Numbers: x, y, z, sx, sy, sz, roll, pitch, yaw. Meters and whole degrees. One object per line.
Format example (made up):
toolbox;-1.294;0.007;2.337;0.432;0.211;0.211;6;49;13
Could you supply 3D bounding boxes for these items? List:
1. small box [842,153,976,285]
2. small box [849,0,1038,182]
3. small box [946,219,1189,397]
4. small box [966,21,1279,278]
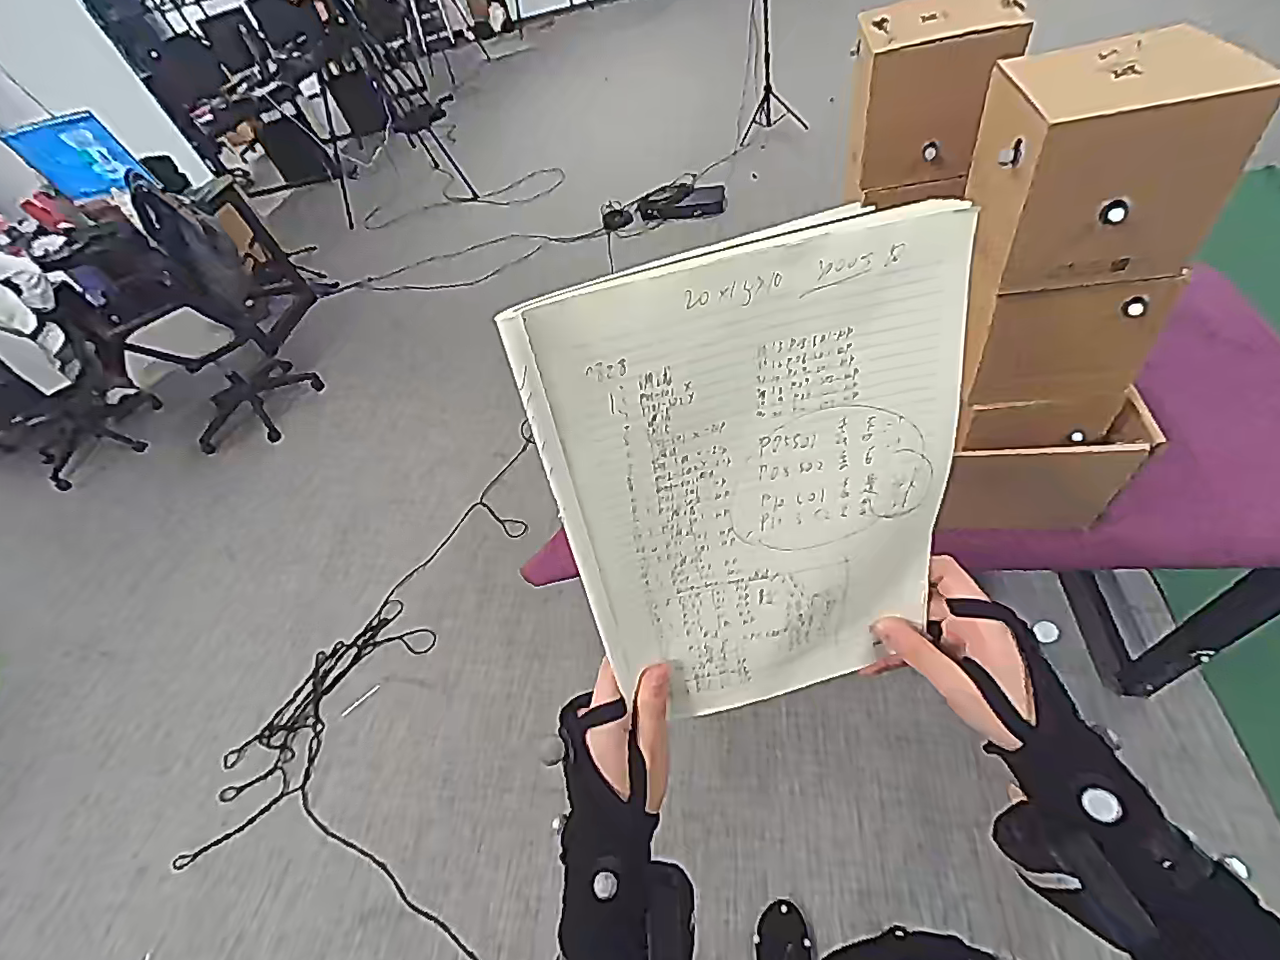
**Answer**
small box;0.433;-0.439;0.871;0.179;0.176;0.168;-3;52;13
small box;0.398;-0.540;0.747;0.179;0.176;0.168;-1;53;13
small box;0.498;-0.218;0.670;0.179;0.176;0.168;-1;51;15
small box;0.456;-0.321;0.549;0.168;0.176;0.179;-1;50;14
